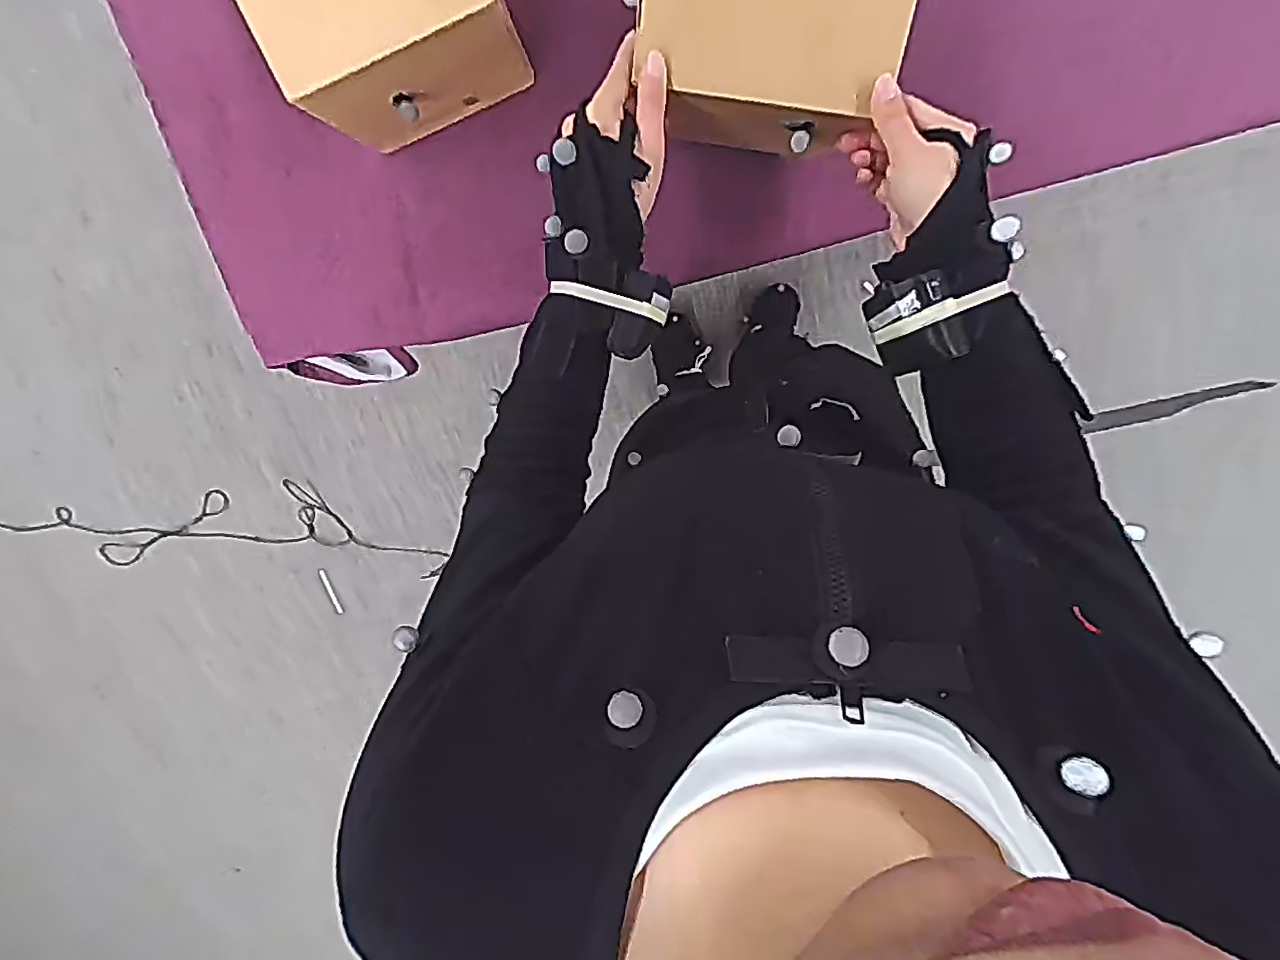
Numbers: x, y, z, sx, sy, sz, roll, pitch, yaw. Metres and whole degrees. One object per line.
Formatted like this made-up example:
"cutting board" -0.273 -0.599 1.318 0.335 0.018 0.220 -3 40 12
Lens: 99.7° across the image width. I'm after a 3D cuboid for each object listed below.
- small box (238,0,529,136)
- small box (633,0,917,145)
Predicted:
"small box" -0.205 -0.401 0.424 0.168 0.176 0.179 -21 108 7
"small box" 0.091 -0.362 0.399 0.179 0.176 0.168 7 113 -3
